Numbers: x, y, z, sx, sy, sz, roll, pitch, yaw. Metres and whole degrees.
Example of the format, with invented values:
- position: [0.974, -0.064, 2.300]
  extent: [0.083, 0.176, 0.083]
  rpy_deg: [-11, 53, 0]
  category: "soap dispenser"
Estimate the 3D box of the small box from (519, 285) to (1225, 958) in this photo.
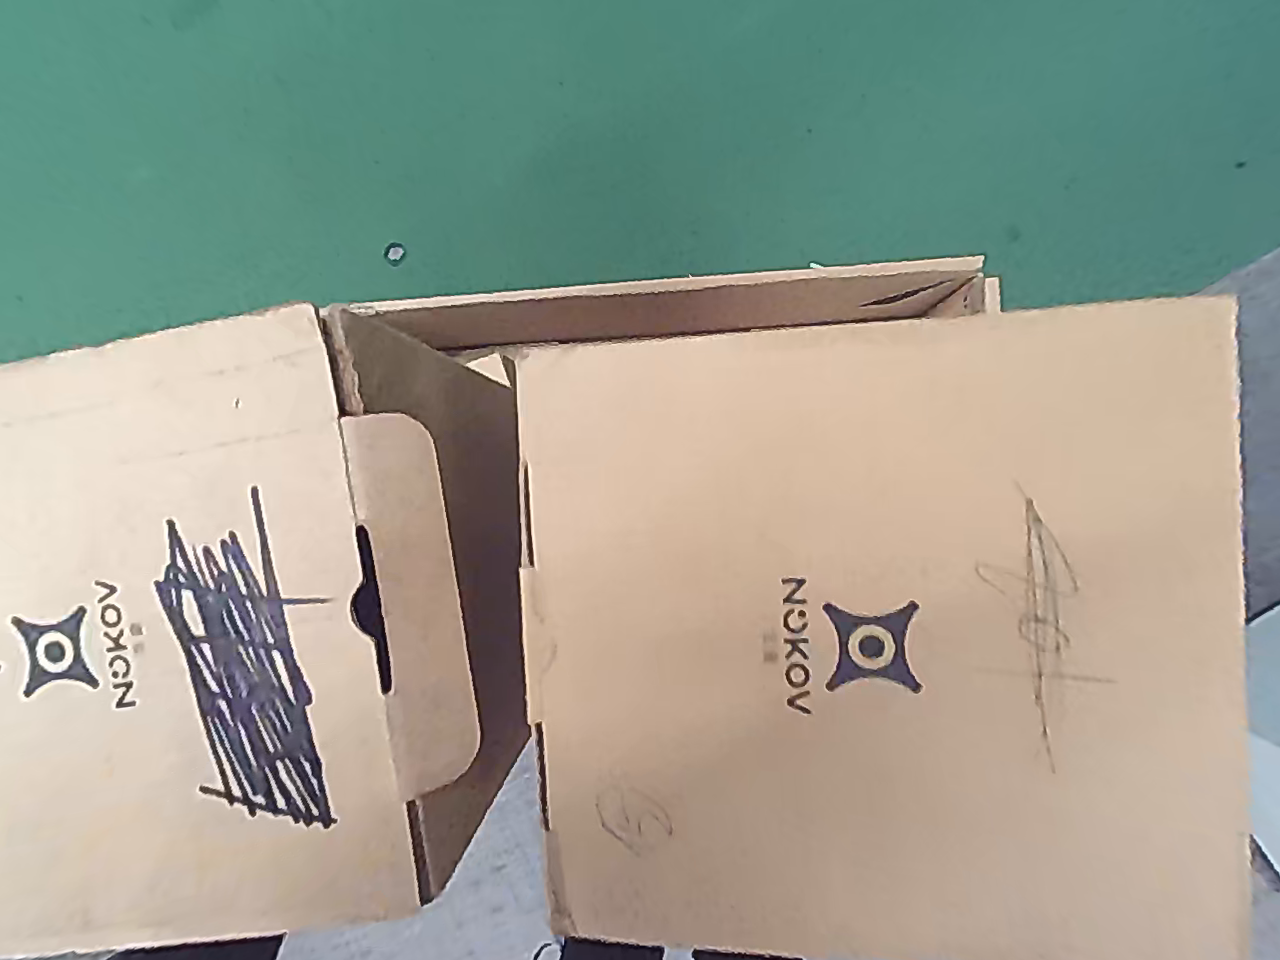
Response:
- position: [0.065, 0.036, 0.222]
  extent: [0.179, 0.176, 0.168]
  rpy_deg: [-2, 91, 8]
  category: "small box"

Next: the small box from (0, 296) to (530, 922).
- position: [-0.145, 0.040, 0.236]
  extent: [0.179, 0.176, 0.168]
  rpy_deg: [-10, 89, 6]
  category: "small box"
